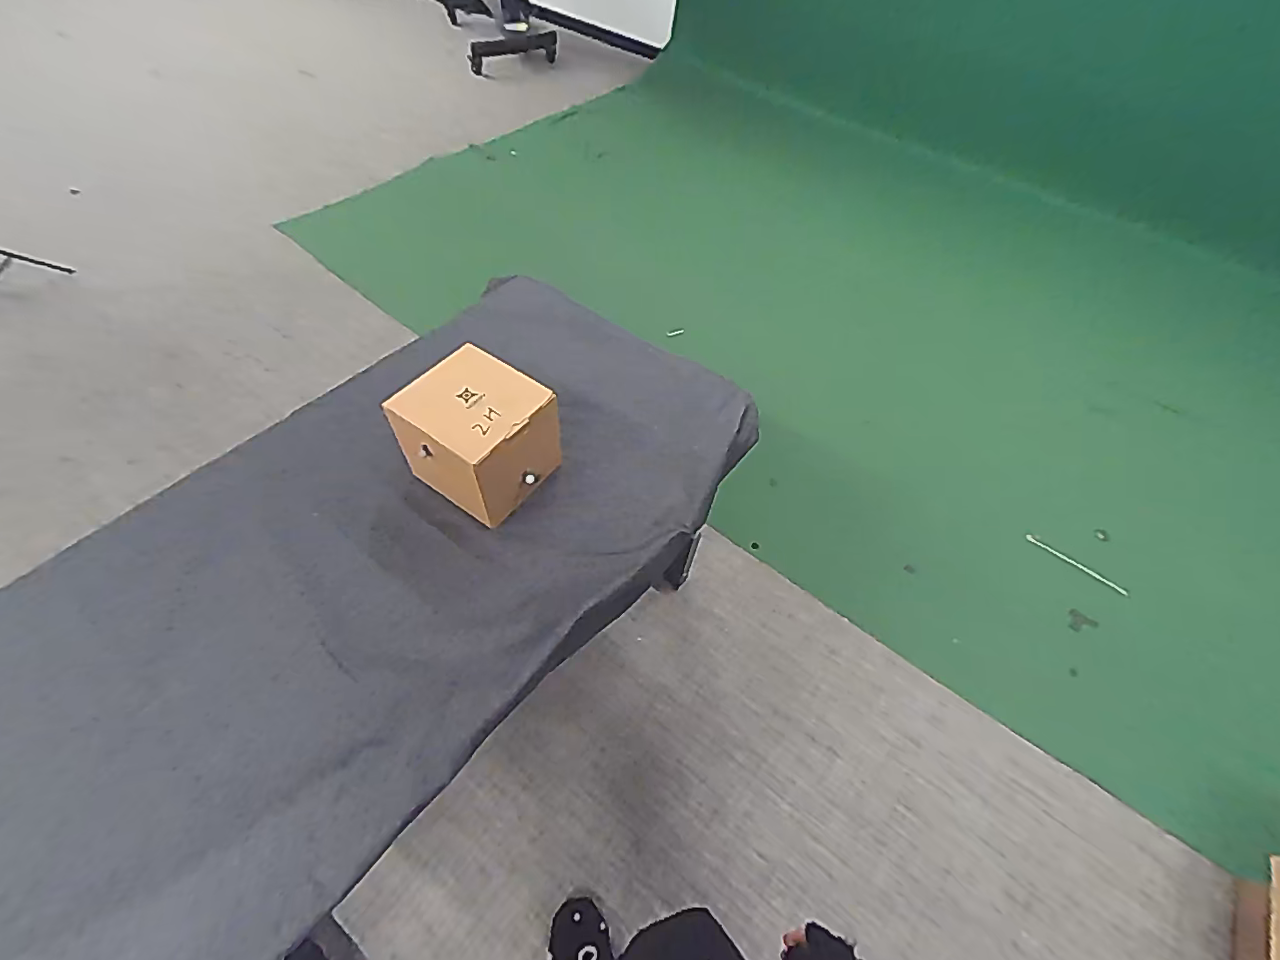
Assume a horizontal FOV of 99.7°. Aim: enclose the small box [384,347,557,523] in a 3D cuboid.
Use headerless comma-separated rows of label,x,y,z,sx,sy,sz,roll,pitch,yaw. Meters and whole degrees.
small box,-0.245,-0.064,0.823,0.179,0.176,0.168,32,58,16
